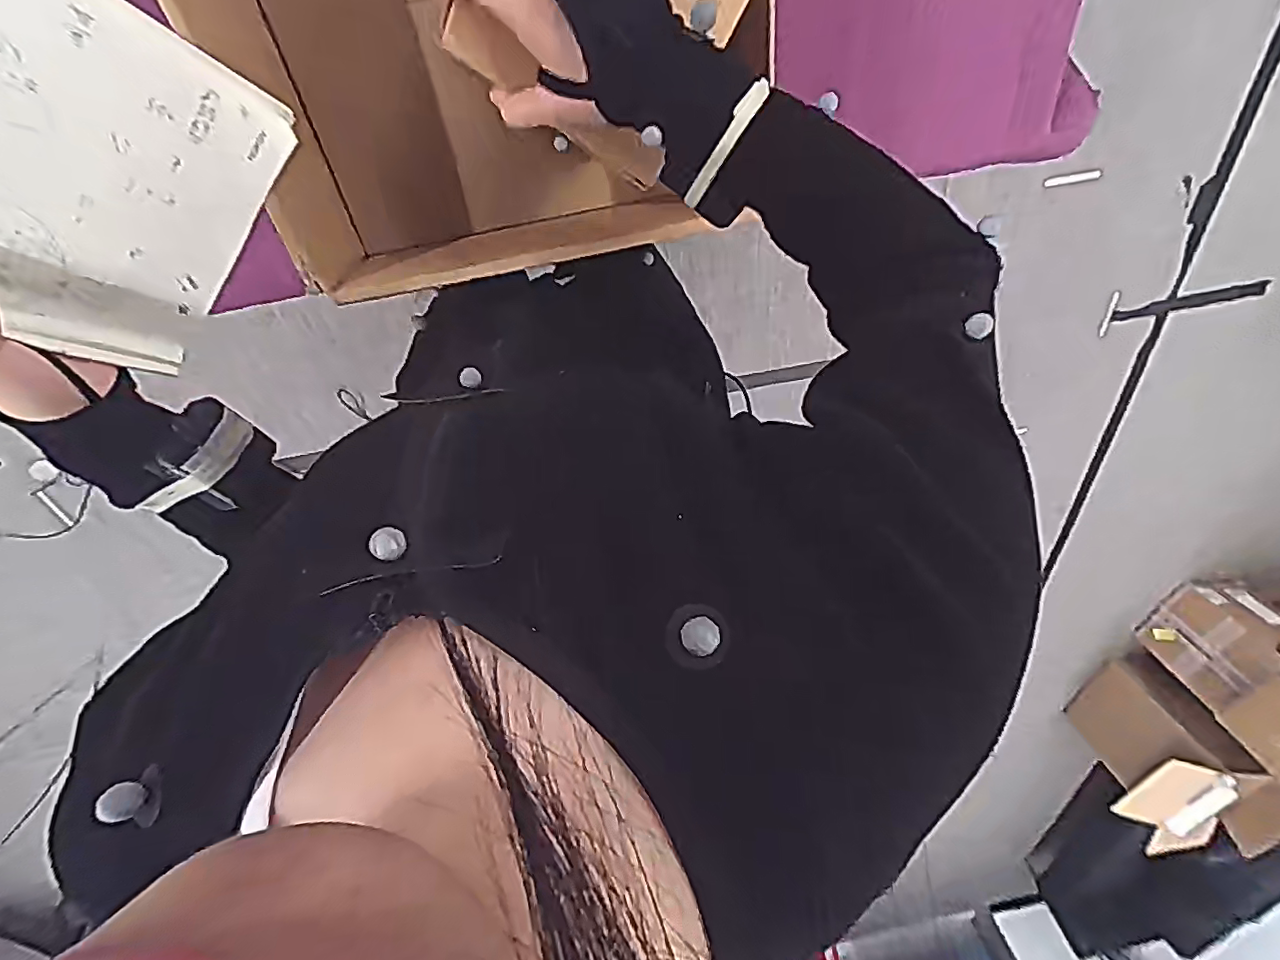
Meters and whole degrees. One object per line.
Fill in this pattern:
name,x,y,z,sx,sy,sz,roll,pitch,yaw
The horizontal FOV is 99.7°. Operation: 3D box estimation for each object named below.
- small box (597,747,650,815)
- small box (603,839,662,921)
small box,-0.066,1.158,2.096,0.168,0.176,0.179,-13,128,0
small box,-0.025,1.353,1.833,0.168,0.176,0.179,-12,127,-2
